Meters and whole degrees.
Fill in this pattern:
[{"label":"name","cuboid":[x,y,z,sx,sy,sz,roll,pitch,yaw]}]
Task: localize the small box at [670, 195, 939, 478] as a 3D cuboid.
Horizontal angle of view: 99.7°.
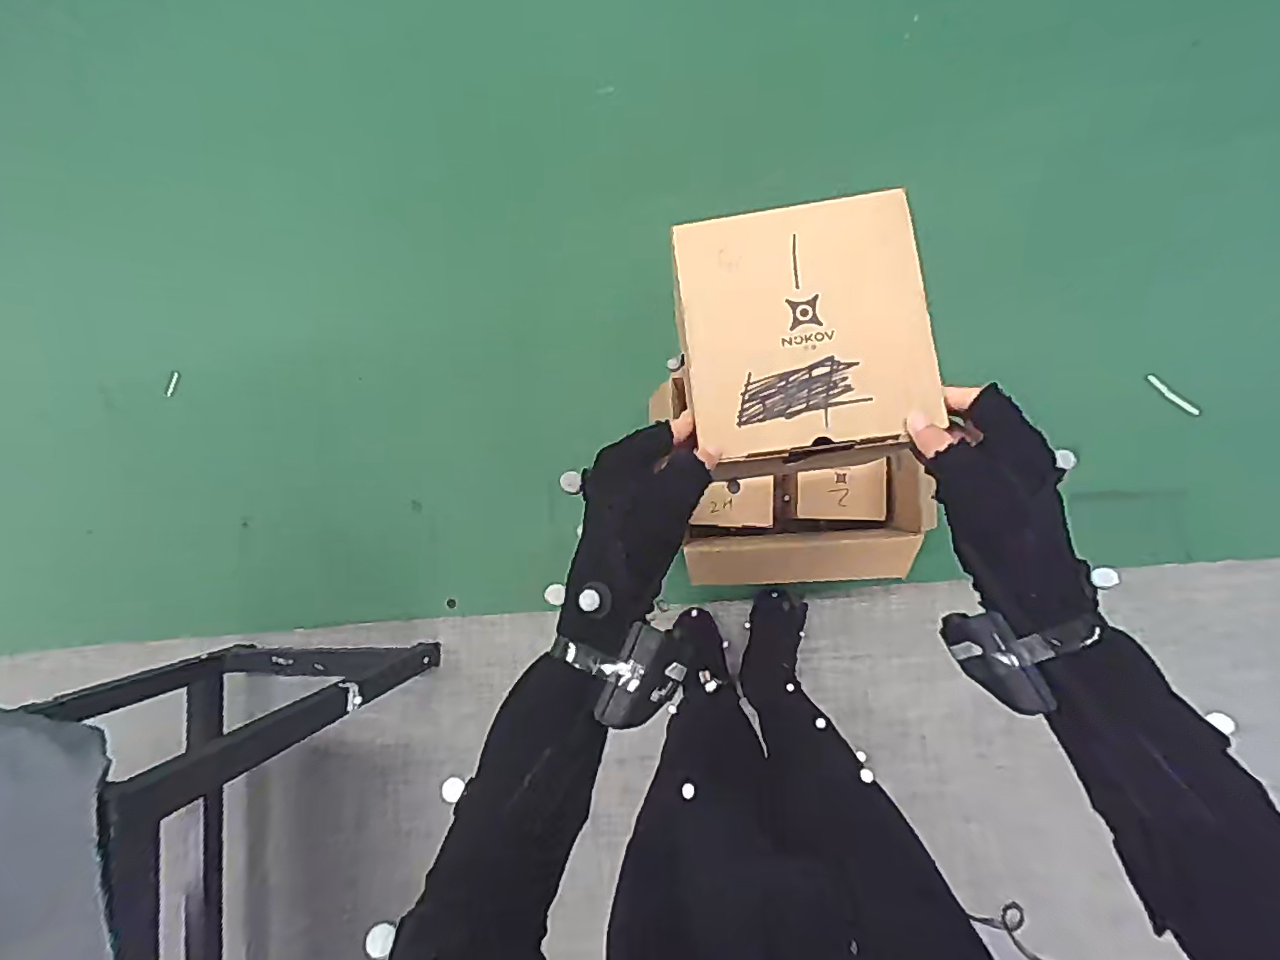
[{"label":"small box","cuboid":[0.119,-0.097,0.453,0.168,0.176,0.179,-7,83,5]}]
